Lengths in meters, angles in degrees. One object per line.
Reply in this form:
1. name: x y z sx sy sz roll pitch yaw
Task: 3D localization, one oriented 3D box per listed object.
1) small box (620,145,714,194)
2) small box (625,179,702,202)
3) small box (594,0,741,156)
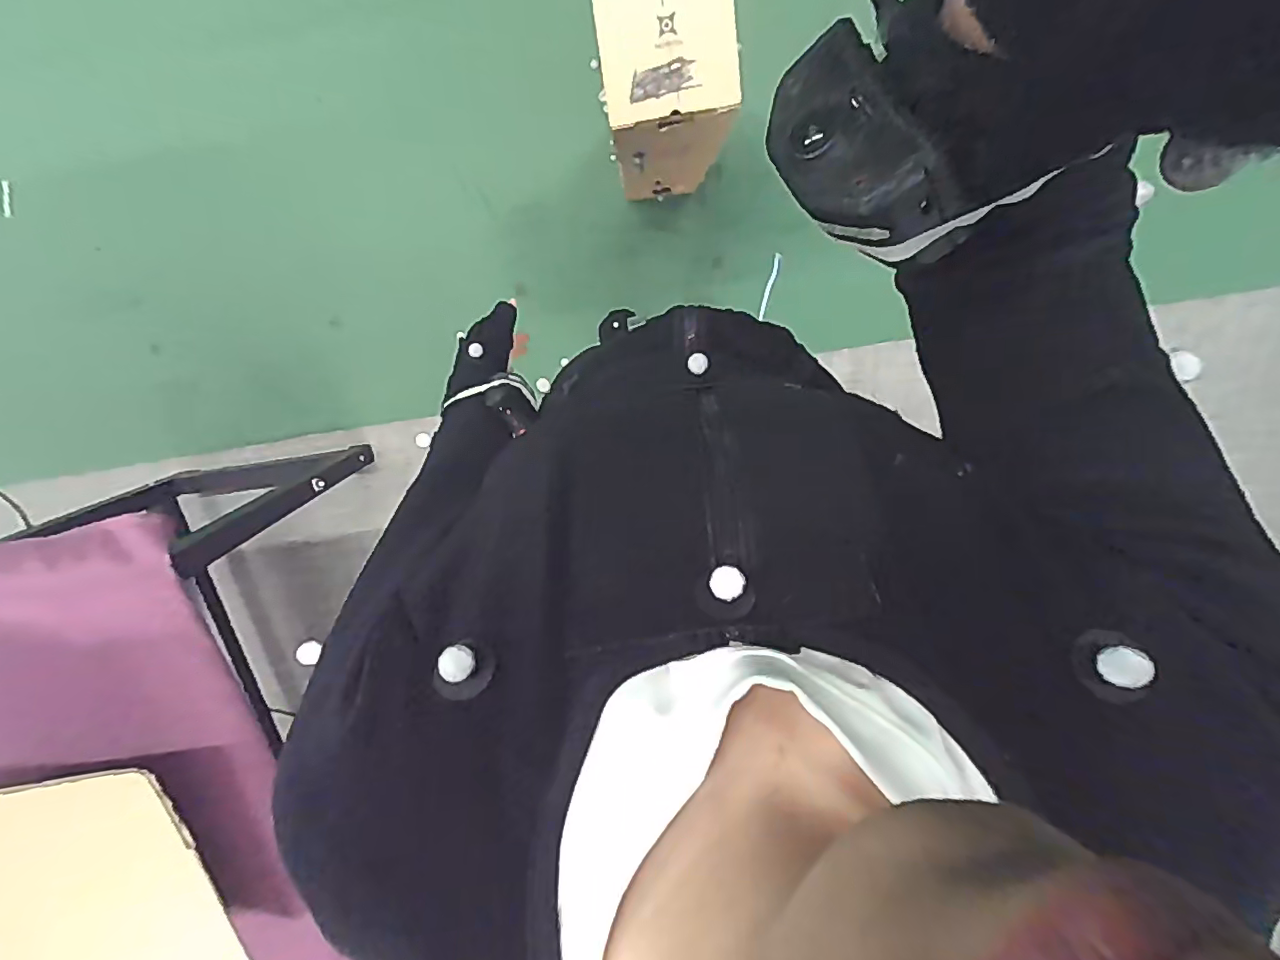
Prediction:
1. small box: 0.041 -0.667 1.029 0.168 0.176 0.179 -9 109 4
2. small box: 0.043 -0.727 1.181 0.168 0.176 0.179 -6 109 4
3. small box: 0.036 -0.552 0.720 0.168 0.176 0.179 -8 108 3
